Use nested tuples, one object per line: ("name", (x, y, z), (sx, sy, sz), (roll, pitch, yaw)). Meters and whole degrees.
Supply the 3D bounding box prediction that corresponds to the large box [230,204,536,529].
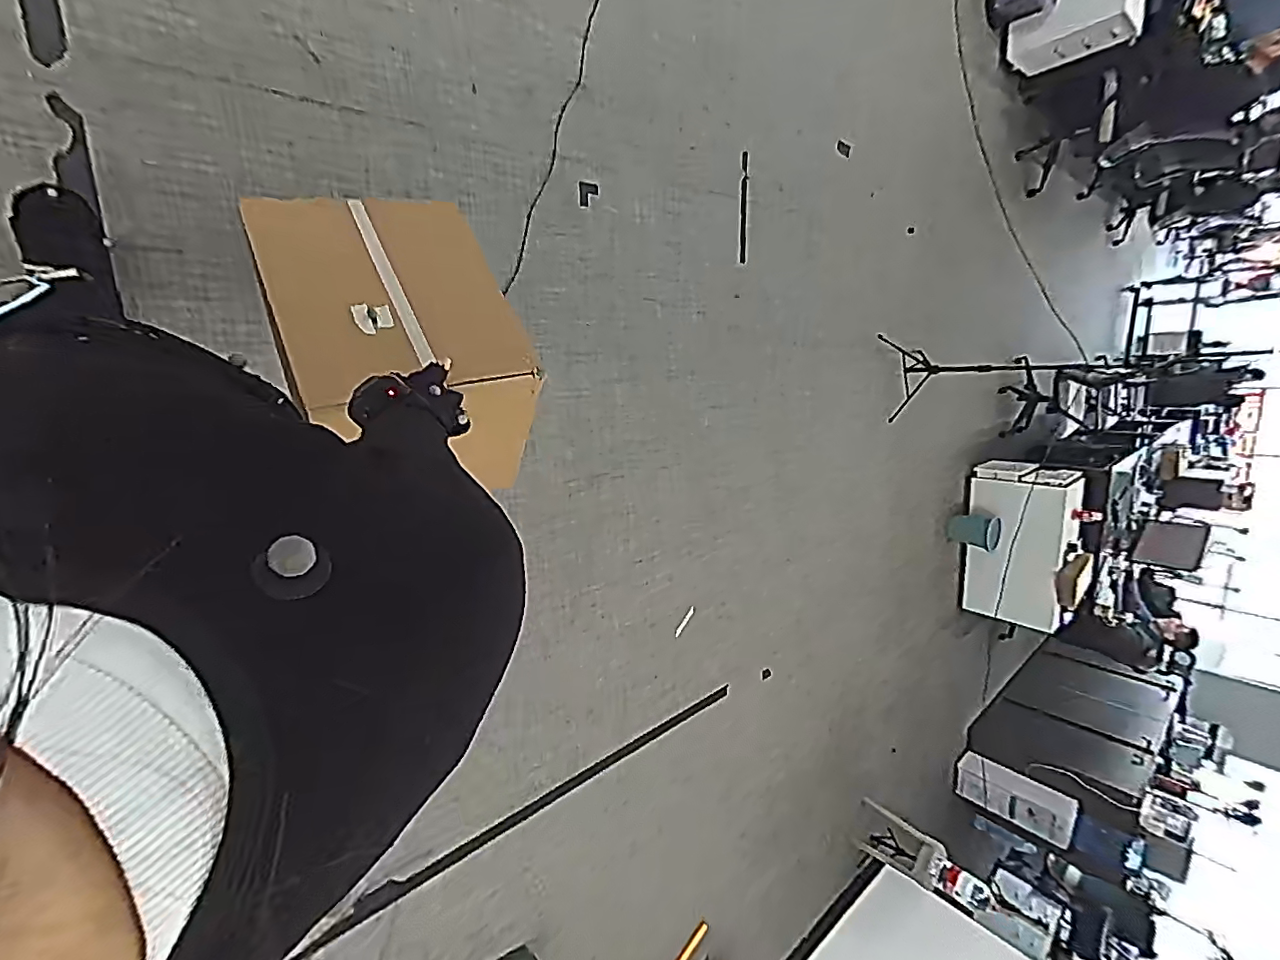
("large box", (-0.419, -0.192, 0.899), (0.320, 0.320, 0.408), (-17, 66, -30))
